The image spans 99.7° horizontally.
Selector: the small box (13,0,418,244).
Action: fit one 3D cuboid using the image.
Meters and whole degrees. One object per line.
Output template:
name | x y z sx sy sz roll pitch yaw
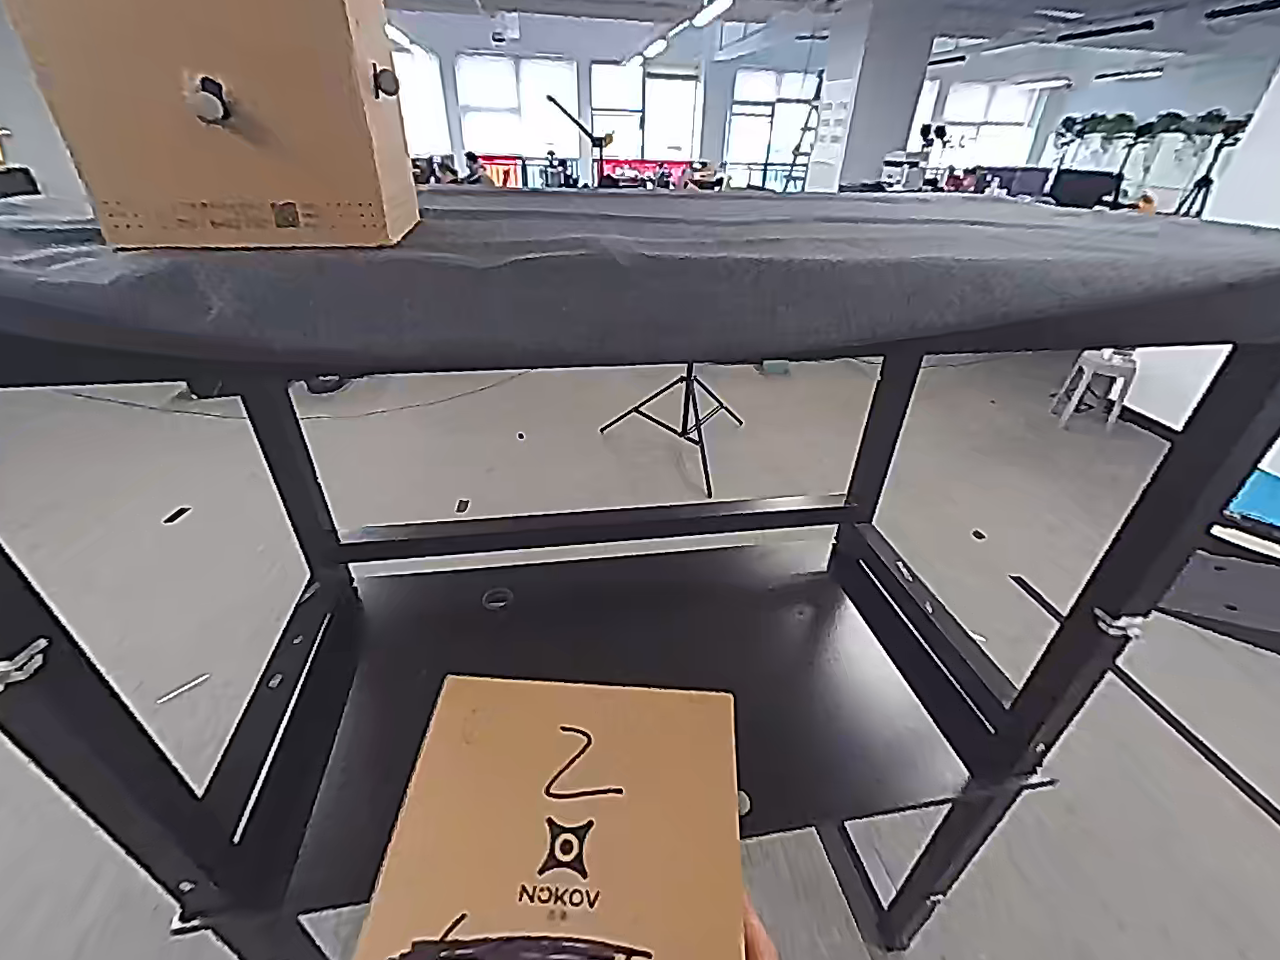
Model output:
small box | -0.261 -0.265 0.376 0.168 0.176 0.179 -5 32 -13
